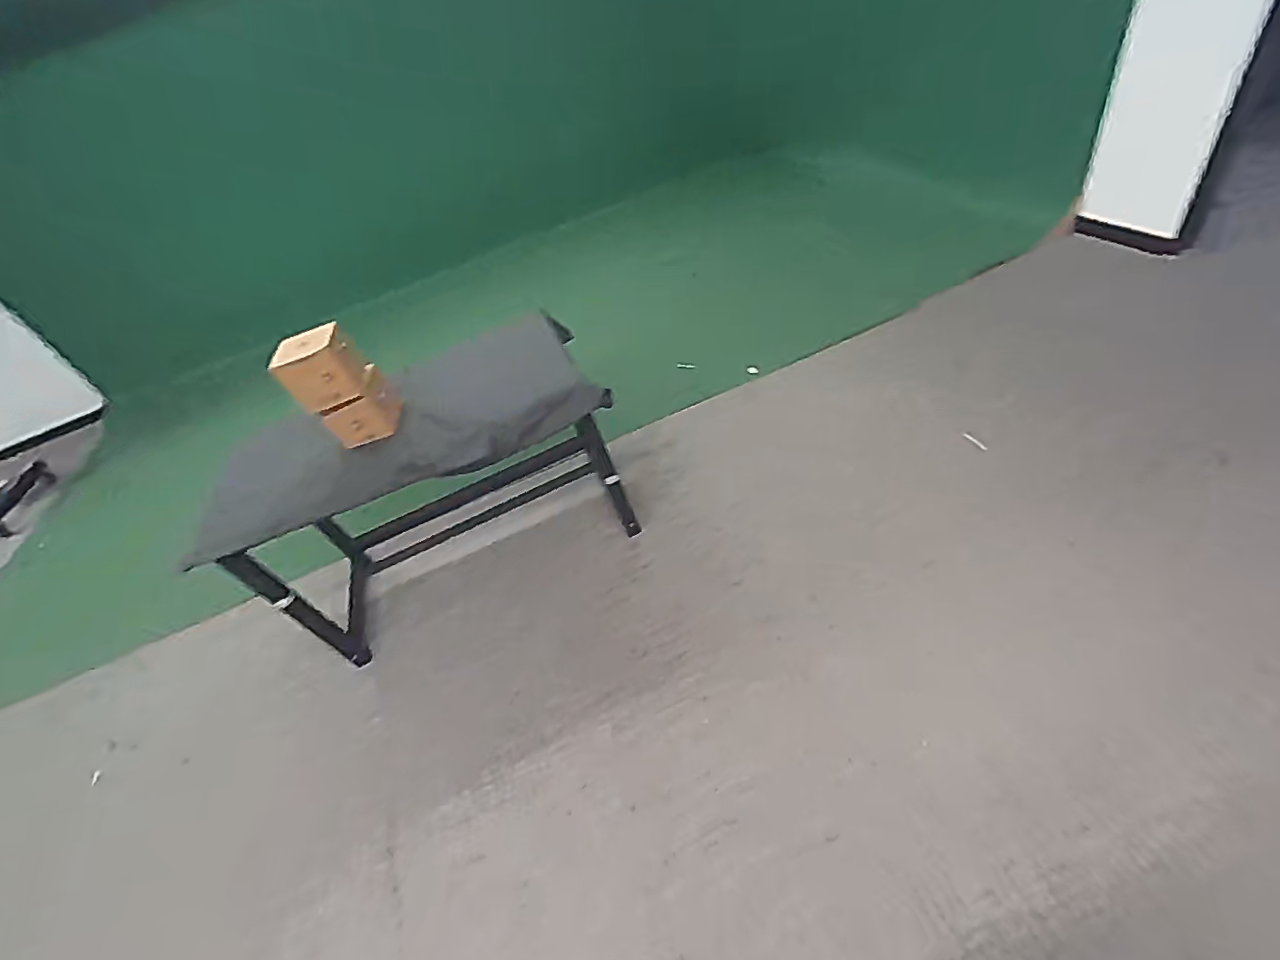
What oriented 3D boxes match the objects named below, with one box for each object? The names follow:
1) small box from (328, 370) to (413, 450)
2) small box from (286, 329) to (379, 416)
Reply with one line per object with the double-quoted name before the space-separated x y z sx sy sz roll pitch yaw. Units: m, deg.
"small box" -0.849 -0.215 1.722 0.168 0.176 0.179 -18 43 3
"small box" -0.895 -0.310 1.596 0.168 0.176 0.179 -21 41 -2
